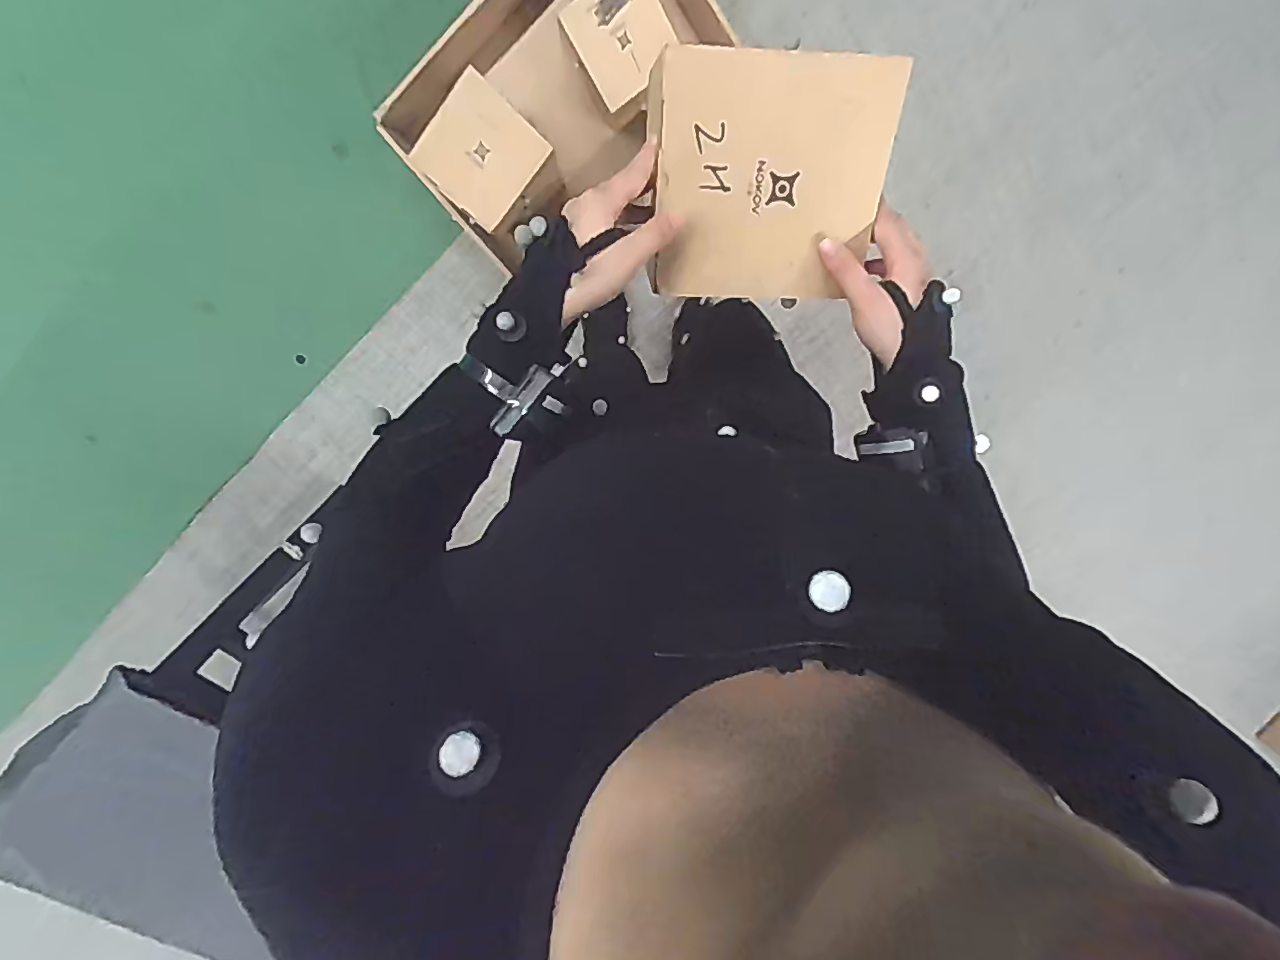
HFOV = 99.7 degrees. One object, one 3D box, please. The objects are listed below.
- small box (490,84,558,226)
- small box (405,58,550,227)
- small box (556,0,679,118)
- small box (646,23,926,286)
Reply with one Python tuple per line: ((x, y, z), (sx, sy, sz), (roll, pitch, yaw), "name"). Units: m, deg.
((-0.278, -0.634, 1.081), (0.179, 0.176, 0.168), (-37, 114, 12), "small box")
((-0.267, -0.562, 0.933), (0.168, 0.176, 0.179), (38, 104, -21), "small box")
((-0.041, -0.824, 1.017), (0.168, 0.176, 0.179), (-31, 115, 10), "small box")
((0.102, -0.275, 0.472), (0.179, 0.176, 0.168), (0, 122, -4), "small box")
